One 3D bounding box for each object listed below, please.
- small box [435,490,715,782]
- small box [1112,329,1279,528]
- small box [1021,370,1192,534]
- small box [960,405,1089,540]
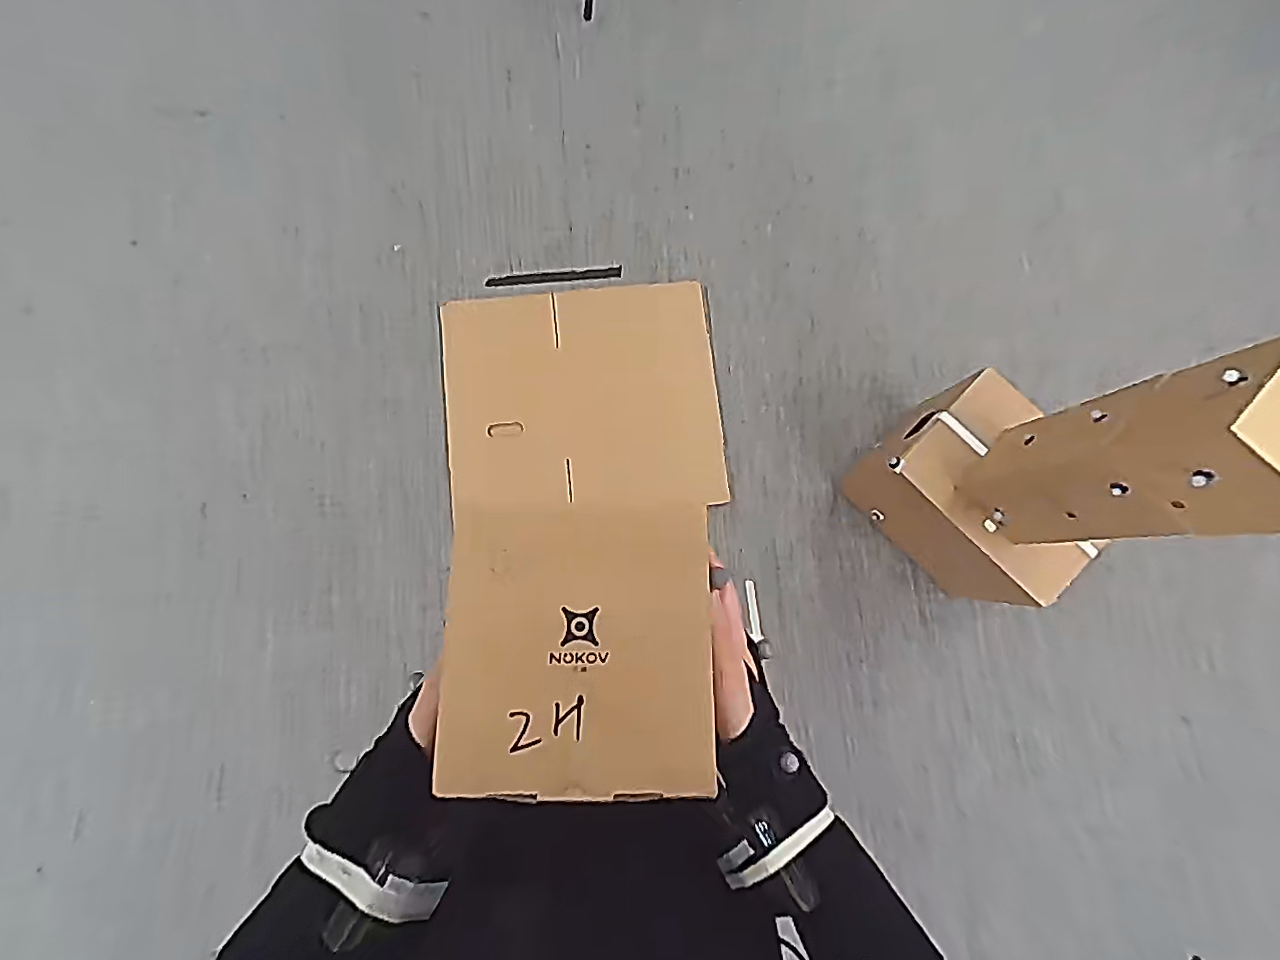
[{"bbox_3d":[-0.039,0.114,0.413,0.168,0.176,0.179,-1,74,0],"label":"small box"},{"bbox_3d":[0.760,-0.055,0.681,0.168,0.176,0.179,44,82,5],"label":"small box"},{"bbox_3d":[0.754,-0.034,0.843,0.168,0.176,0.179,44,82,5],"label":"small box"},{"bbox_3d":[0.747,-0.006,1.004,0.168,0.176,0.179,44,83,5],"label":"small box"}]
